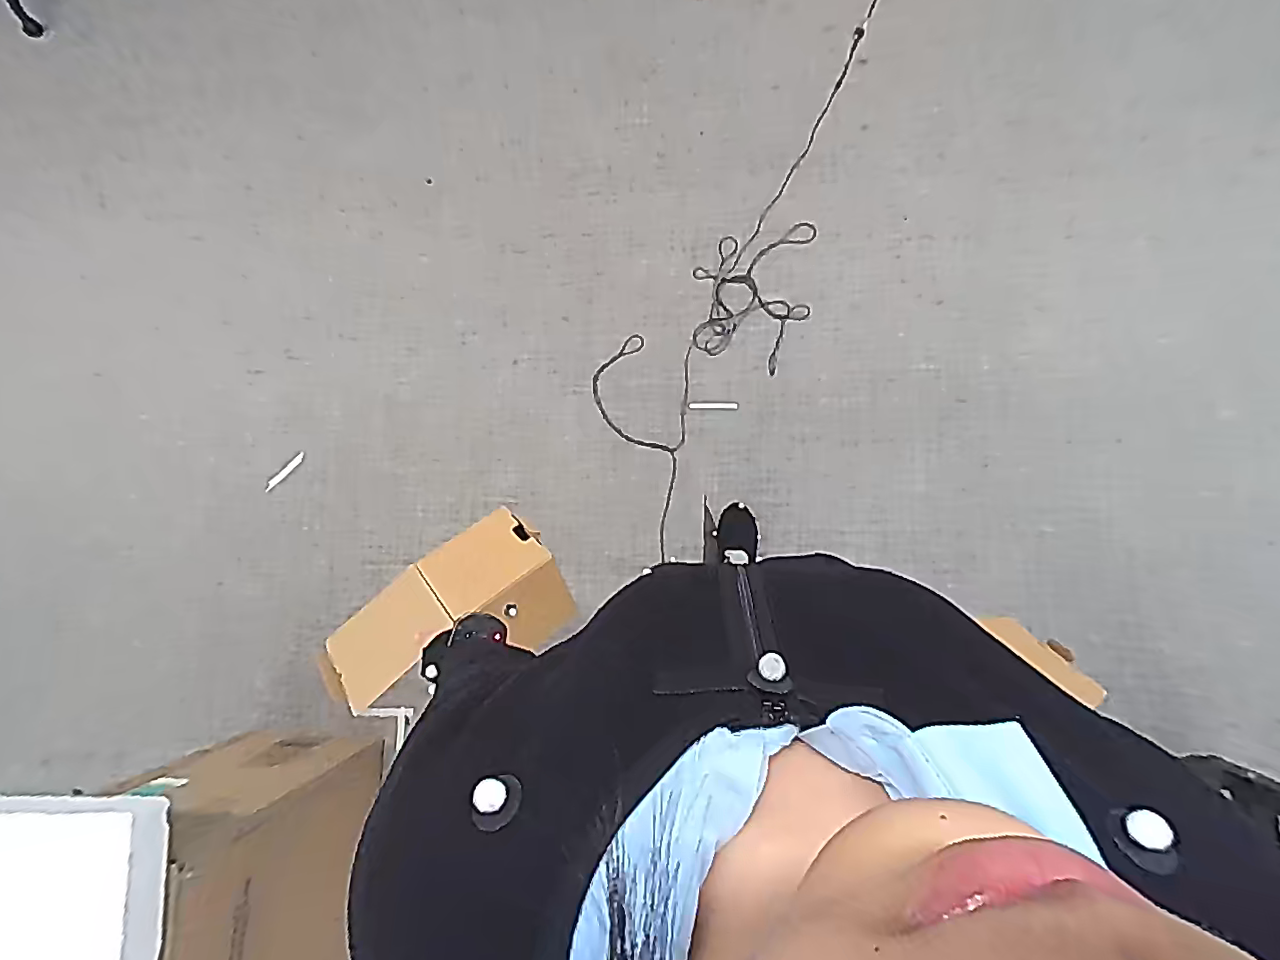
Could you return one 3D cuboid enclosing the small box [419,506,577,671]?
[{"bbox_3d":[-0.233,0.184,0.913,0.179,0.176,0.168,-35,46,-22],"label":"small box"}]
